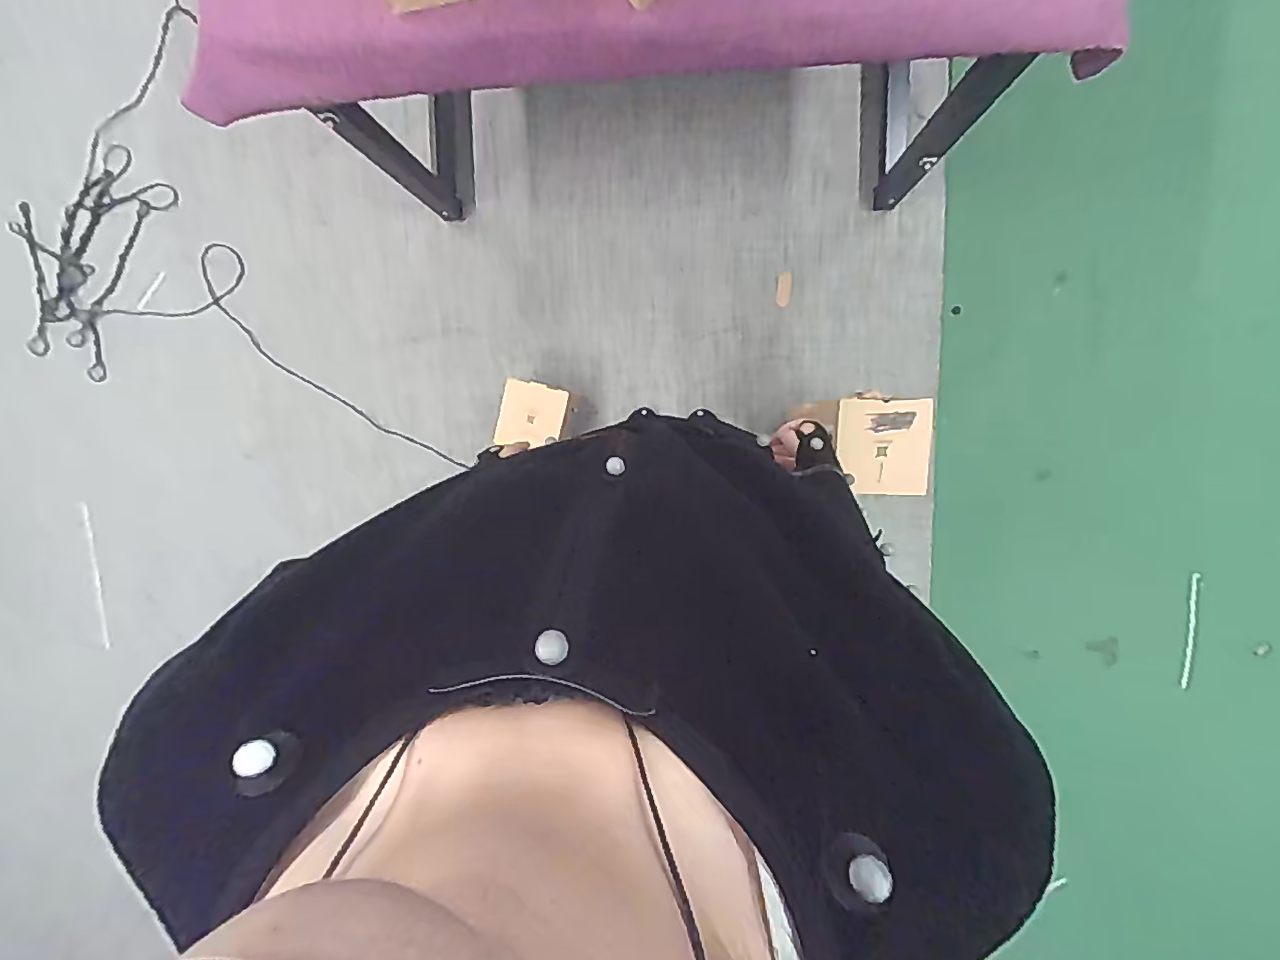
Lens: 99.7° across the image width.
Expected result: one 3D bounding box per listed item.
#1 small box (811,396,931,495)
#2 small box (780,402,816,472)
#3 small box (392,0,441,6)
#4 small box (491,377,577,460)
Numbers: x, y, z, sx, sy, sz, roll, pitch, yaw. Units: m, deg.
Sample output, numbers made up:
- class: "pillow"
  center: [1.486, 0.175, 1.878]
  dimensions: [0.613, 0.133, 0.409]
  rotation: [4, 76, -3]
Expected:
- class: "small box"
  center: [0.437, -0.071, 1.050]
  dimensions: [0.168, 0.176, 0.179]
  rotation: [2, 98, 4]
- class: "small box"
  center: [0.465, -0.099, 1.377]
  dimensions: [0.179, 0.176, 0.168]
  rotation: [10, 97, 4]
- class: "small box"
  center: [-0.273, -0.712, 0.638]
  dimensions: [0.168, 0.176, 0.179]
  rotation: [-8, 94, 6]
- class: "small box"
  center: [-0.273, -0.163, 1.433]
  dimensions: [0.168, 0.176, 0.179]
  rotation: [15, 98, 4]
